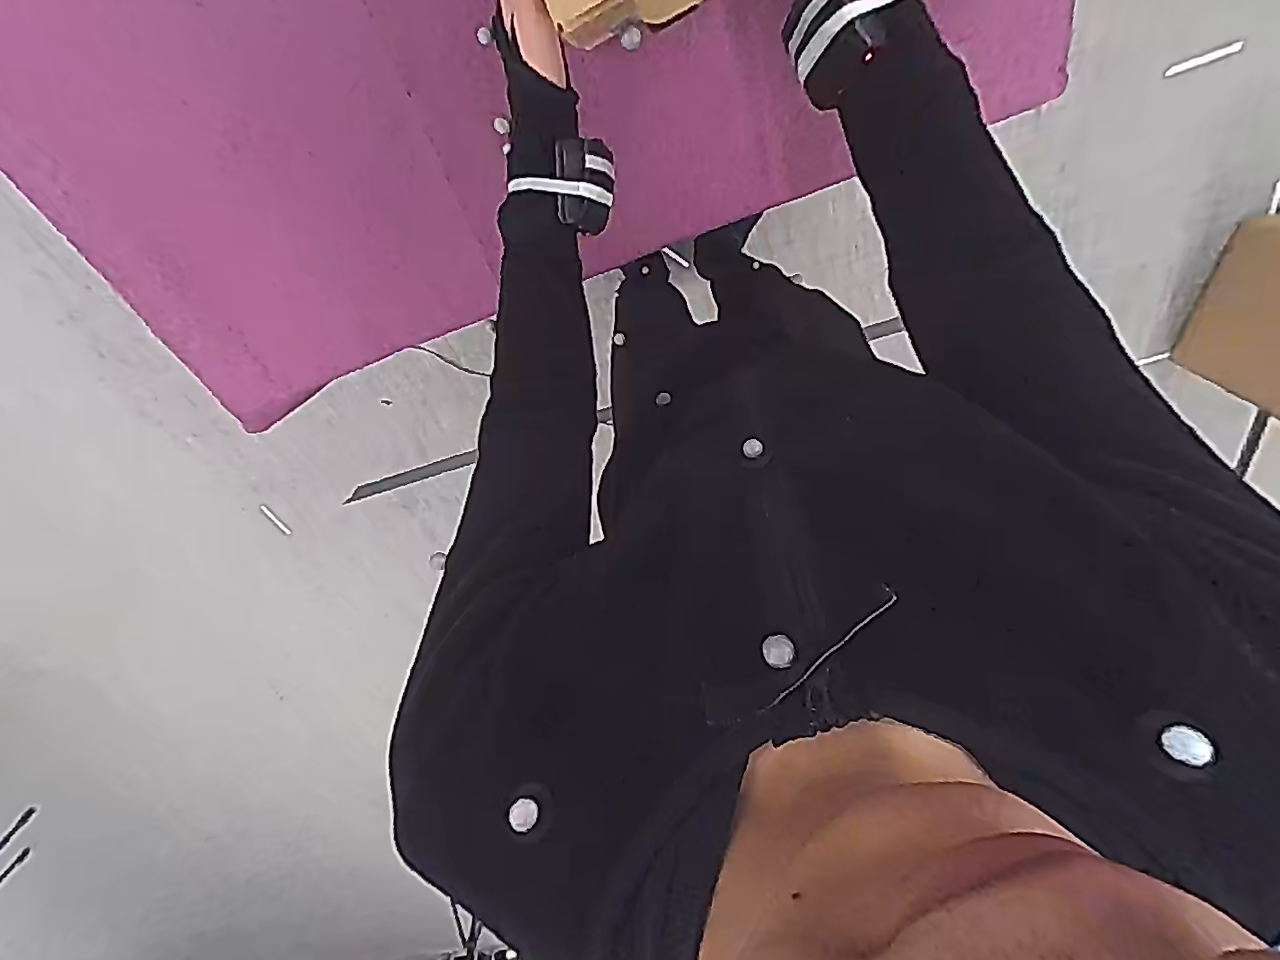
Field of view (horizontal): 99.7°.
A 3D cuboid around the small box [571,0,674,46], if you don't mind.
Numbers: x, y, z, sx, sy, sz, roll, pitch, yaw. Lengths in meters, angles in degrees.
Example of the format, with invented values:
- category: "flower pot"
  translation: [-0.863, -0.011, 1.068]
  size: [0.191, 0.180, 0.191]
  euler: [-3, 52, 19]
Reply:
- category: "small box"
  translation: [-0.021, -0.519, 0.470]
  size: [0.168, 0.176, 0.179]
  euler: [-21, 125, 13]

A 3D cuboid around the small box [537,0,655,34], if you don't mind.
- category: "small box"
  translation: [0.003, -0.316, 0.214]
  size: [0.168, 0.176, 0.179]
  euler: [-21, 124, 11]
